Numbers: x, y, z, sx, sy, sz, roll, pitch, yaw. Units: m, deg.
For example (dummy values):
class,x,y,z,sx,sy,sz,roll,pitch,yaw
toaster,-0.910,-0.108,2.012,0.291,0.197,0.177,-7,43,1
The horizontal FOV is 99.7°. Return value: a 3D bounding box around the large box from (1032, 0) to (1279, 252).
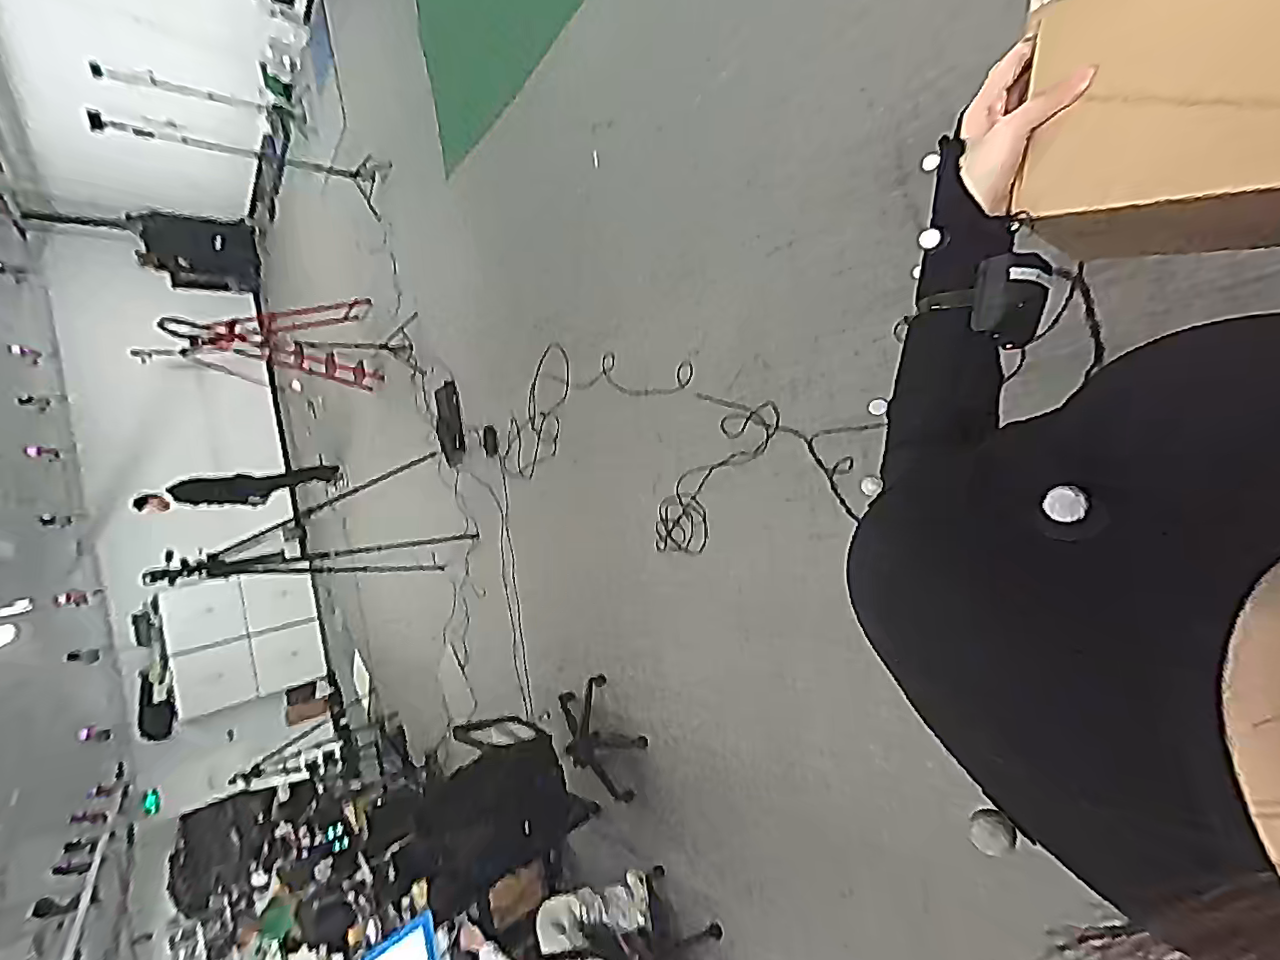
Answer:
class,x,y,z,sx,sy,sz,roll,pitch,yaw
large box,0.553,-0.359,0.367,0.408,0.320,0.320,13,110,41
